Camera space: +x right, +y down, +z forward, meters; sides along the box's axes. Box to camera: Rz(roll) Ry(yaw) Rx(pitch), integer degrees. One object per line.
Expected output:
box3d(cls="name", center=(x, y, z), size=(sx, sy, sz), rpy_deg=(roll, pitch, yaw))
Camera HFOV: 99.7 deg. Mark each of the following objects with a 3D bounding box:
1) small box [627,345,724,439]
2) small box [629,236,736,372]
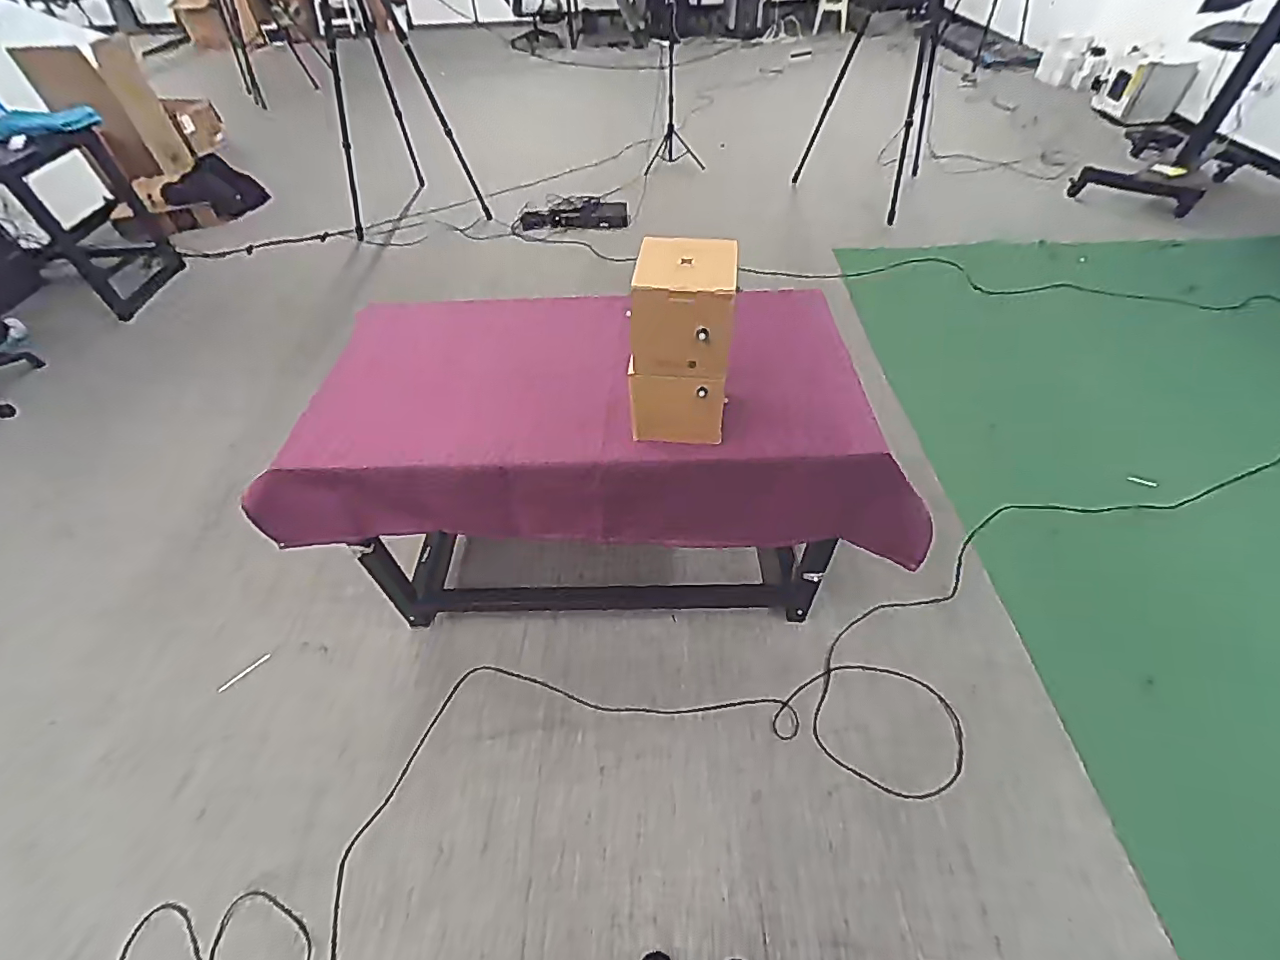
box3d(cls="small box", center=(0.074, -0.196, 1.071), size=(0.179, 0.176, 0.168), rpy_deg=(4, 48, 5))
box3d(cls="small box", center=(0.077, -0.307, 0.952), size=(0.168, 0.176, 0.179), rpy_deg=(6, 48, 6))
